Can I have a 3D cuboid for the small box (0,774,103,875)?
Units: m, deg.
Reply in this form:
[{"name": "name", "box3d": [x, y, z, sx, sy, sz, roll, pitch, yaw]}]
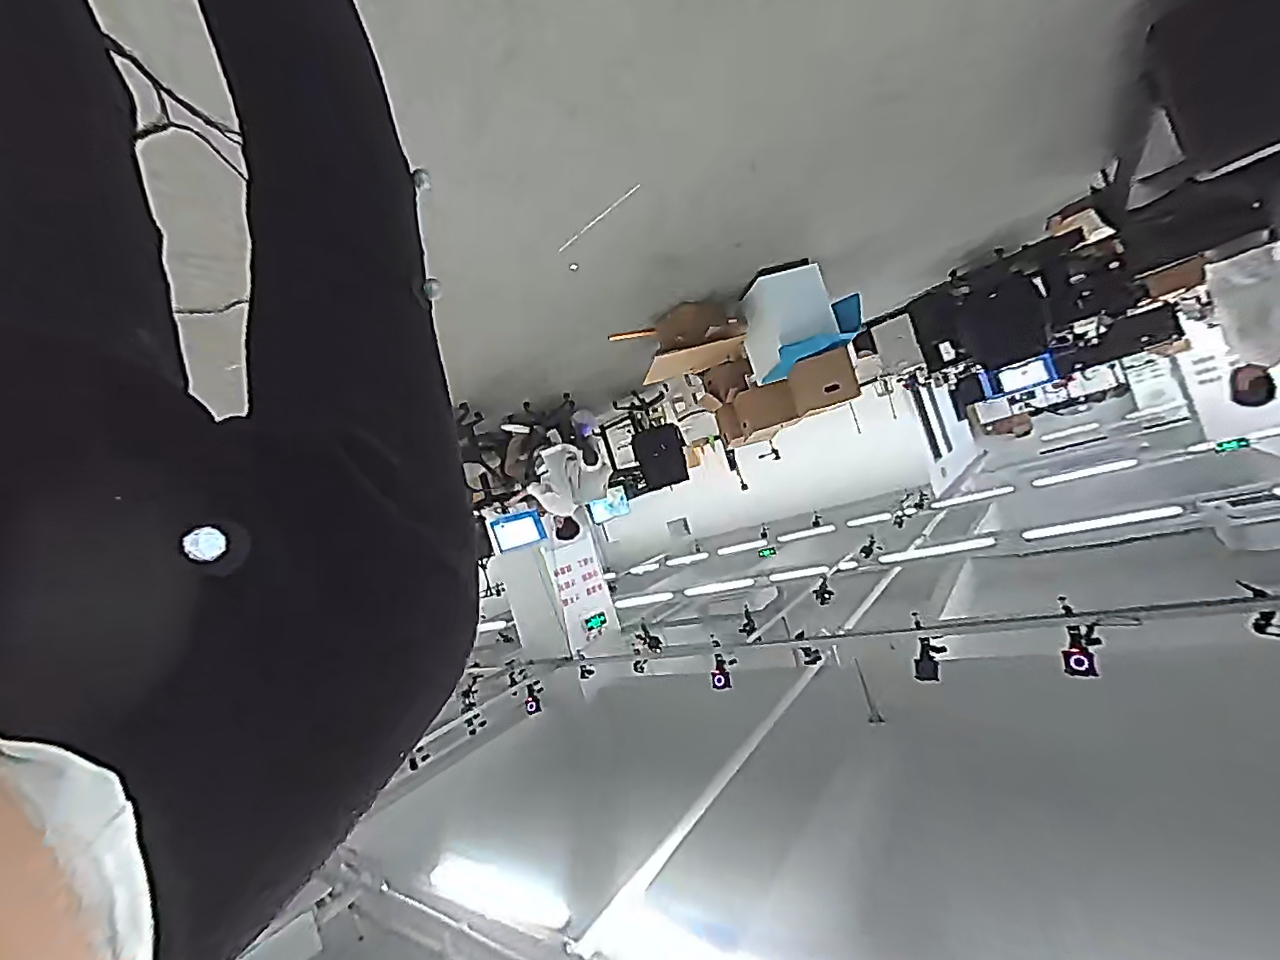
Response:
[{"name": "small box", "box3d": [-1.661, 0.959, 1.522, 0.179, 0.176, 0.168, -17, 178, 37]}]
